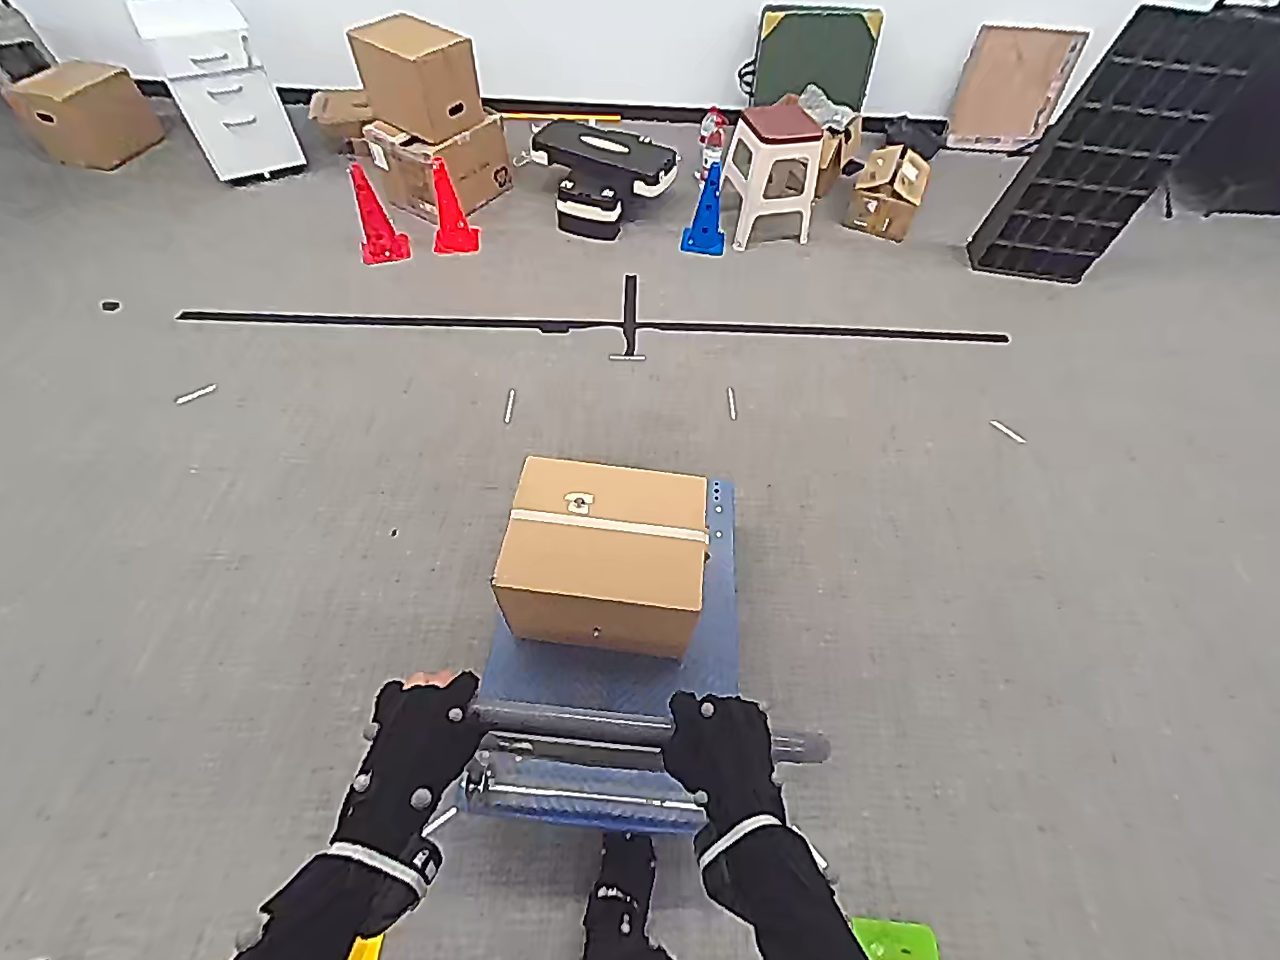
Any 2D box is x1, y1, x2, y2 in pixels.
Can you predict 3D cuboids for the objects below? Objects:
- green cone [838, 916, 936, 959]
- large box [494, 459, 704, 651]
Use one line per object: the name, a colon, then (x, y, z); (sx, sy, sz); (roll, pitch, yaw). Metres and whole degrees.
green cone: (0.518, 0.912, 0.944); (0.202, 0.368, 0.200); (6, 55, -1)
large box: (-0.073, 0.182, 1.239); (0.408, 0.320, 0.320); (7, 55, 2)
